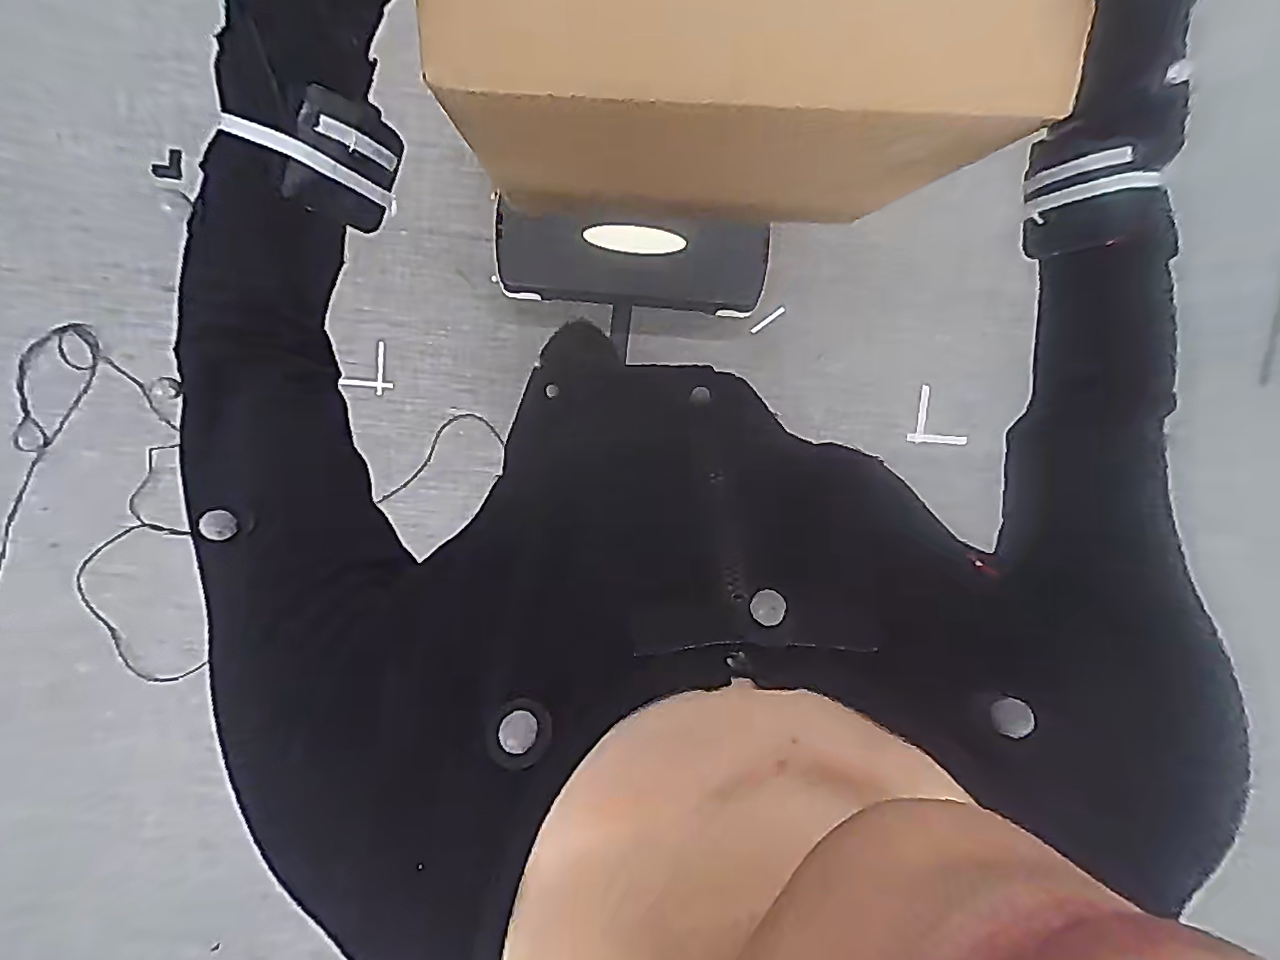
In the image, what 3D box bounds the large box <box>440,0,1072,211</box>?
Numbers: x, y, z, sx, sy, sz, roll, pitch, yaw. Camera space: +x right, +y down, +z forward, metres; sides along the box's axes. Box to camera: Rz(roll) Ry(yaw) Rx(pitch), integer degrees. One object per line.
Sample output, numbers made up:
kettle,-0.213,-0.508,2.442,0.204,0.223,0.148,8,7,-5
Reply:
large box,0.065,-0.429,0.453,0.408,0.320,0.320,-1,105,-4
